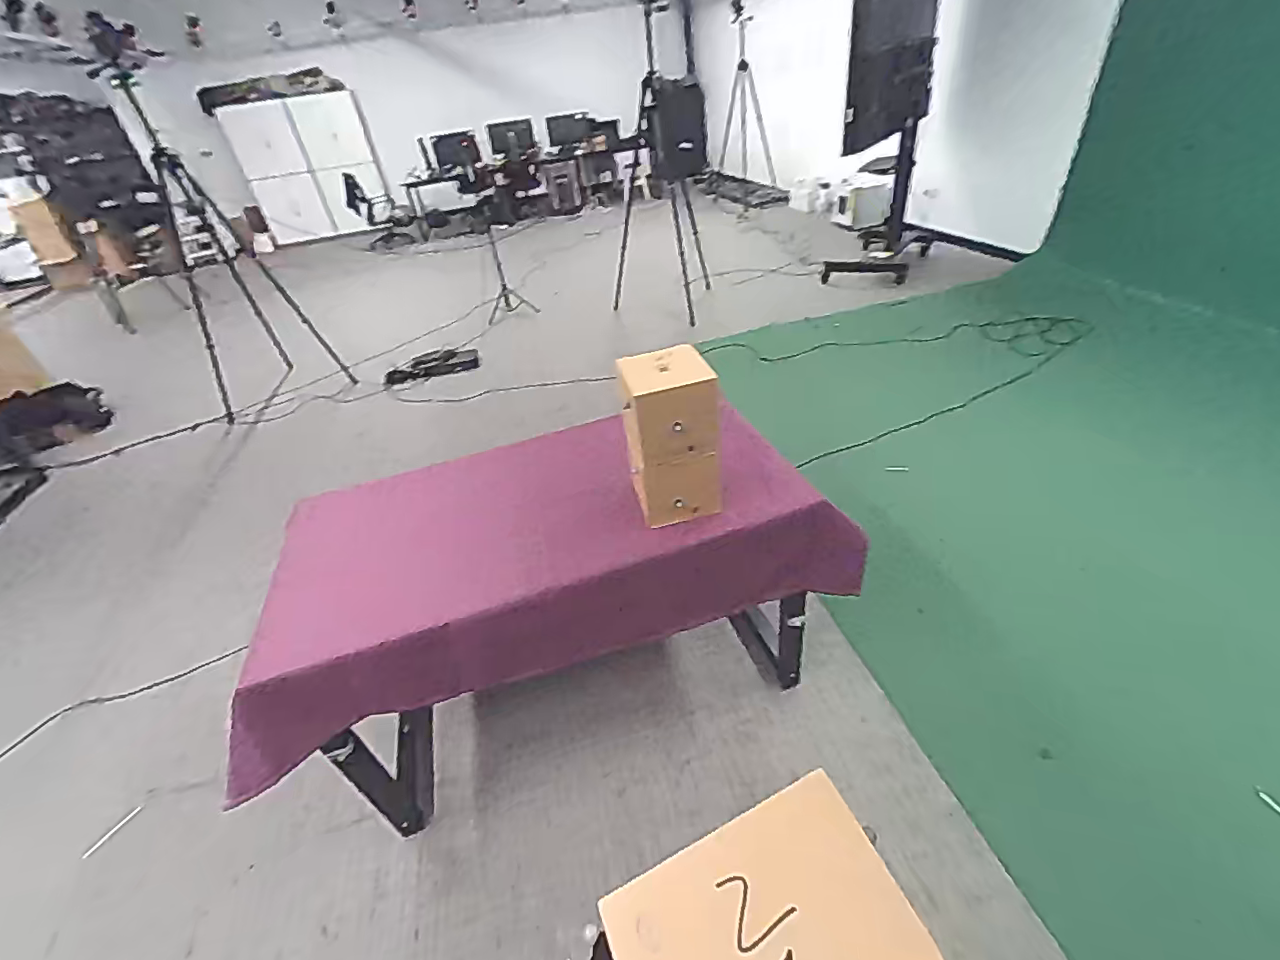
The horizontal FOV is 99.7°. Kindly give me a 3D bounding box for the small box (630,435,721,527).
[{"bbox_3d":[0.078,-0.021,1.223,0.168,0.176,0.179,-13,37,-6],"label":"small box"}]

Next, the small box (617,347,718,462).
[{"bbox_3d":[0.059,-0.153,1.125,0.168,0.176,0.179,-14,37,-7],"label":"small box"}]
